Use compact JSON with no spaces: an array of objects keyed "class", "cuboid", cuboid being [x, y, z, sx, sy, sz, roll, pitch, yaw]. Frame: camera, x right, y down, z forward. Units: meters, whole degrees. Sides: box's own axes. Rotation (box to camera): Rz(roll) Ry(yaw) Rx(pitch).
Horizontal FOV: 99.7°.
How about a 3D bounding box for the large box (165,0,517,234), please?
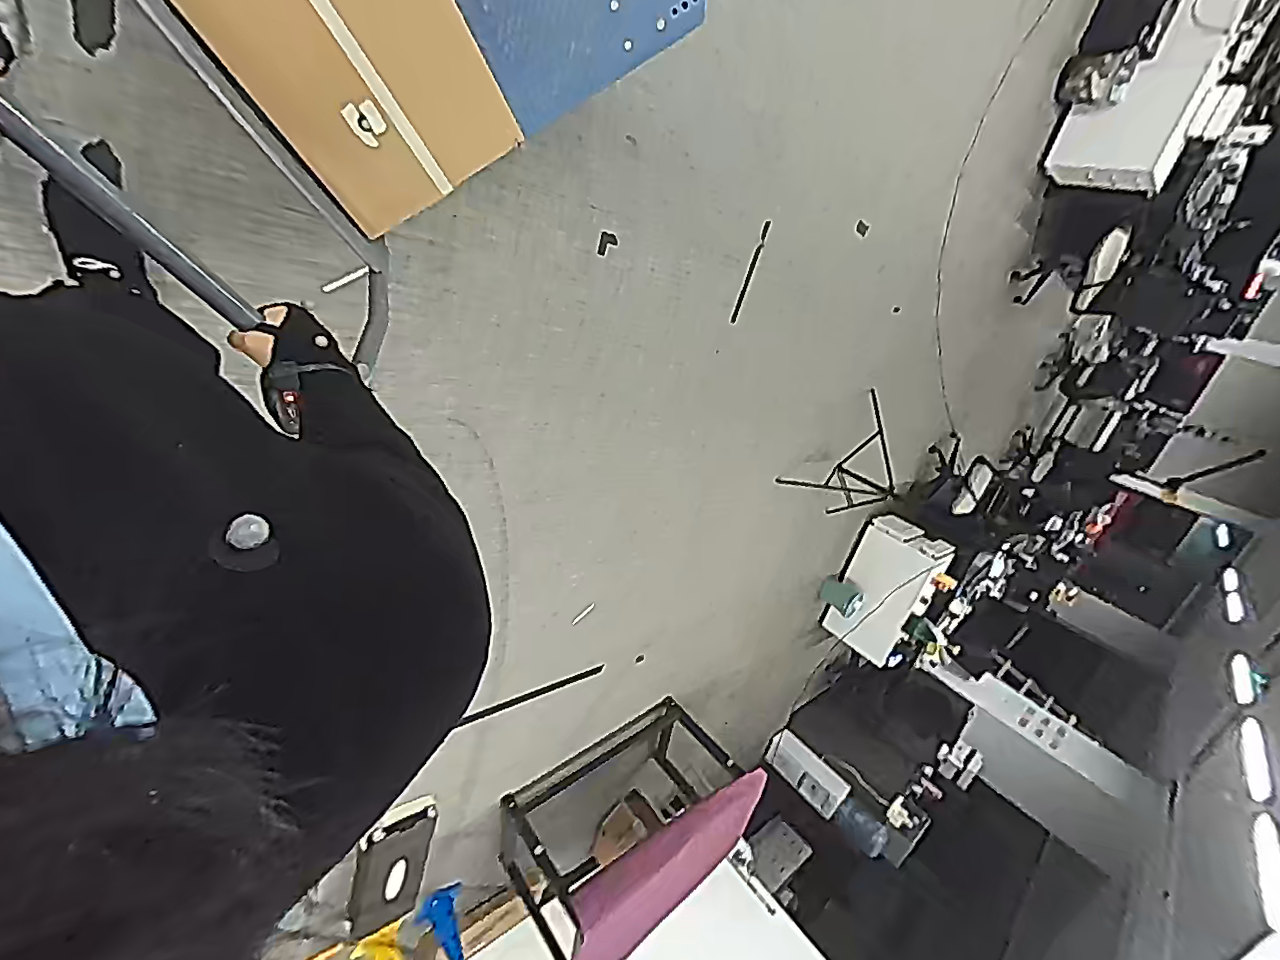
[{"class":"large box","cuboid":[-0.466,-0.701,0.865,0.320,0.320,0.408,-31,139,2]}]
